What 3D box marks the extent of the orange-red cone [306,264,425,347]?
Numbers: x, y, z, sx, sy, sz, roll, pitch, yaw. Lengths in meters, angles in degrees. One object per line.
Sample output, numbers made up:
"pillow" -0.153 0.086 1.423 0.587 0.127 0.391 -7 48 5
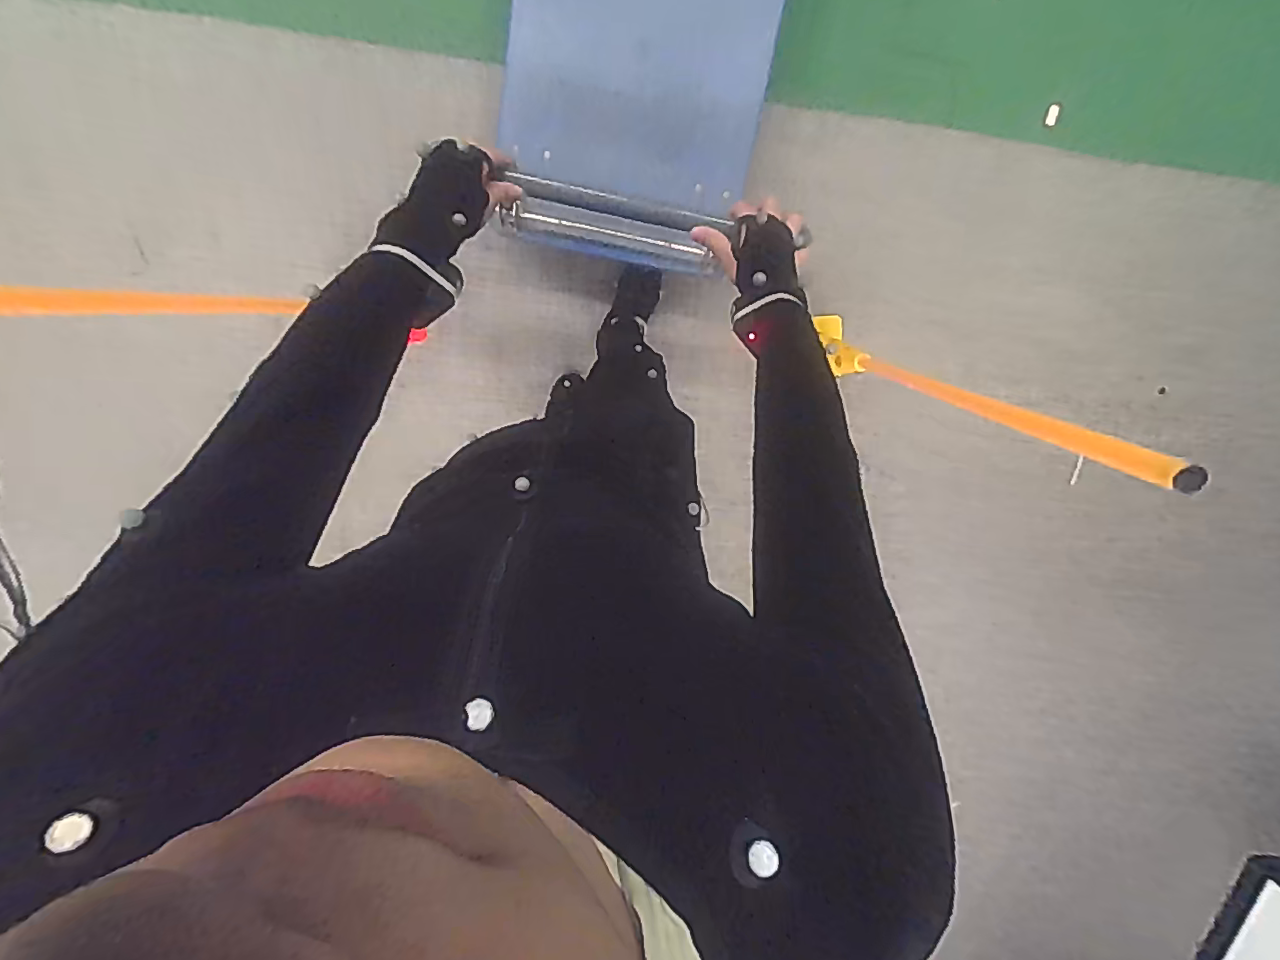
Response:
"orange-red cone" -0.680 -0.413 1.279 0.199 0.360 0.198 -9 107 0
